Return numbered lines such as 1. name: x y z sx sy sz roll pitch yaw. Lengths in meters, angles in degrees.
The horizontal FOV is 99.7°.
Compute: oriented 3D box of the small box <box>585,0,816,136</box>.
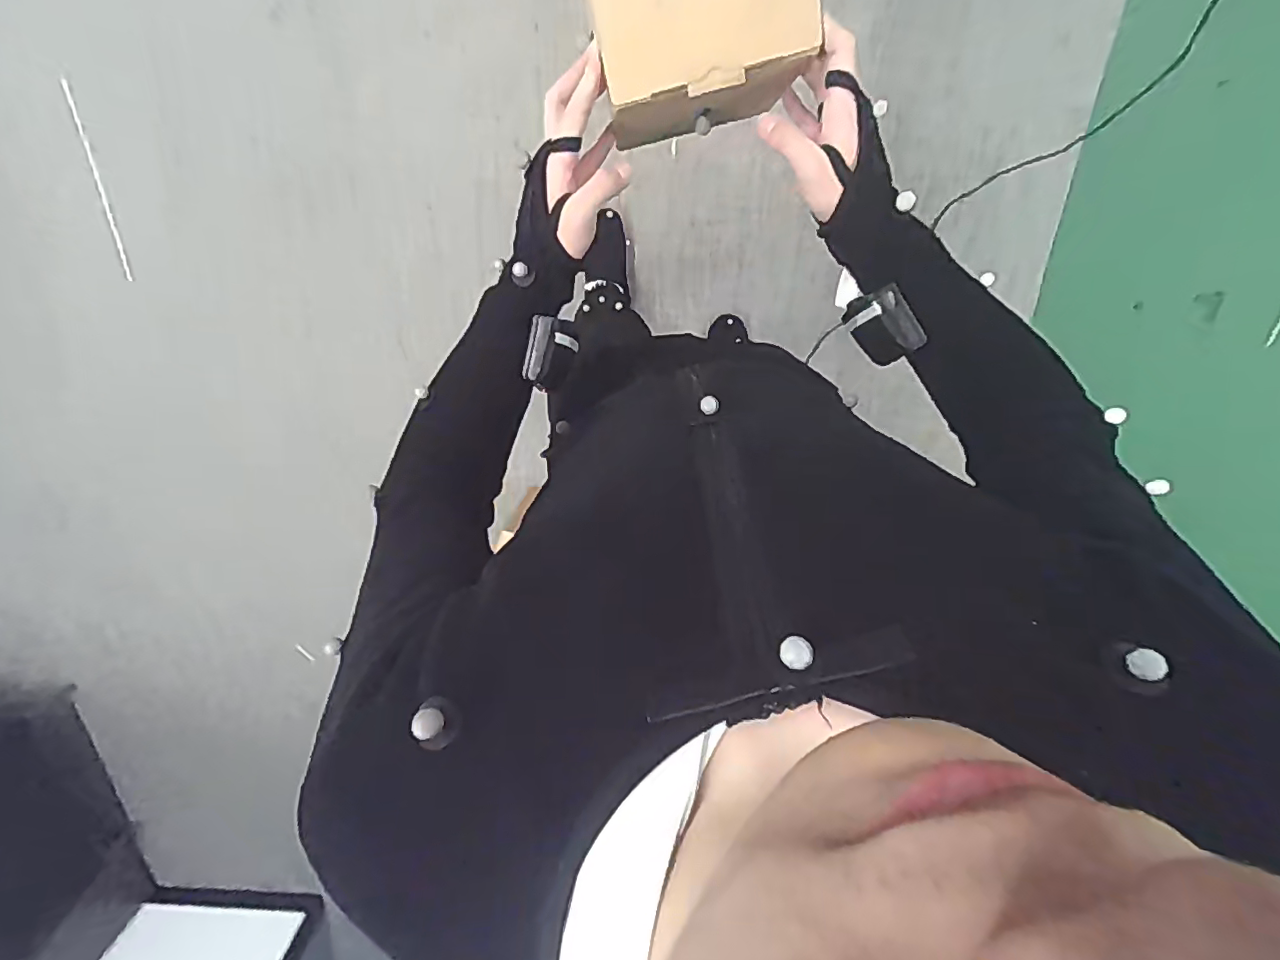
1. small box: 0.036 -0.414 0.457 0.168 0.176 0.179 -13 112 4
